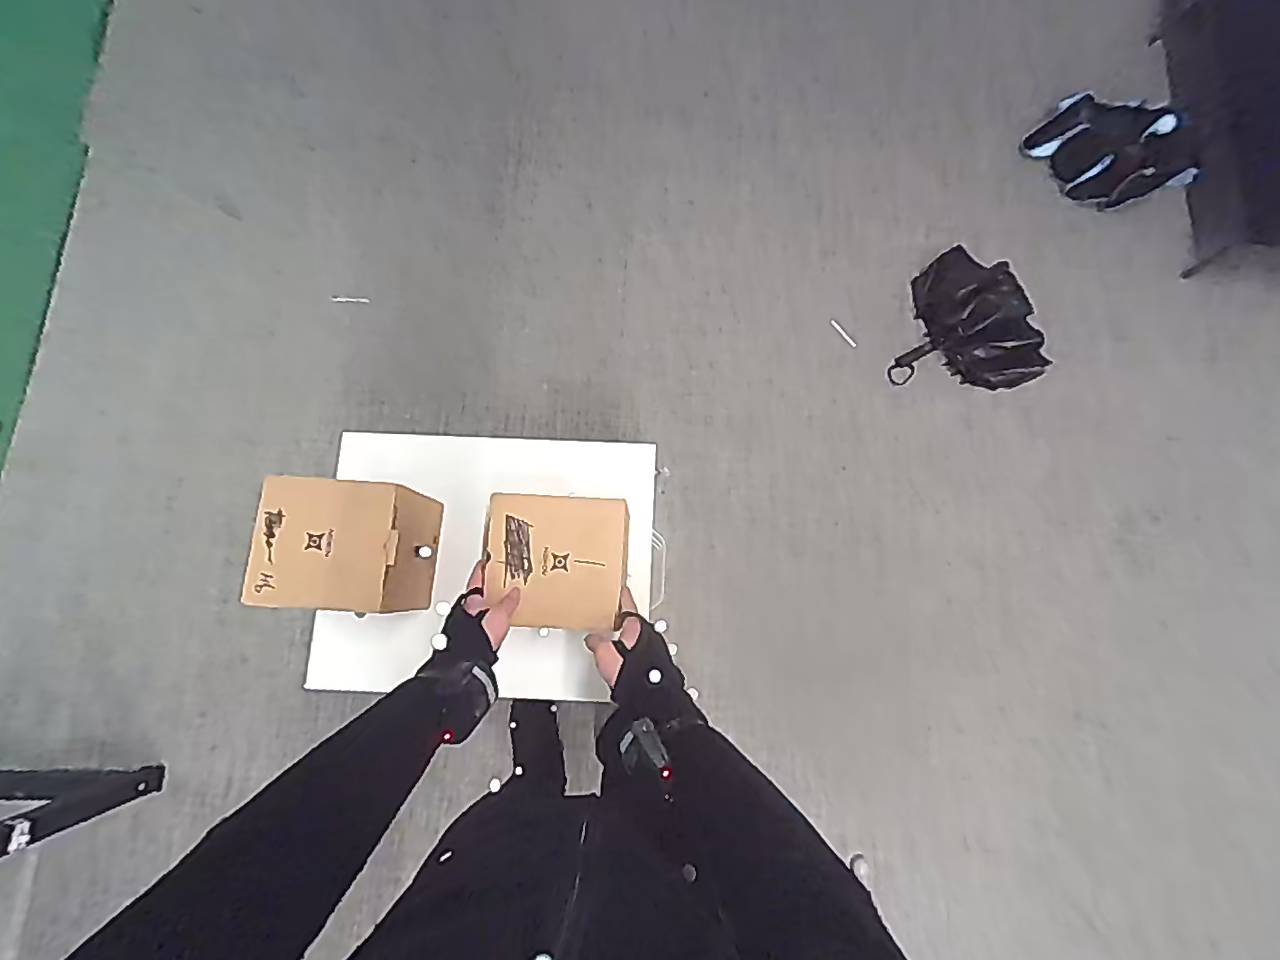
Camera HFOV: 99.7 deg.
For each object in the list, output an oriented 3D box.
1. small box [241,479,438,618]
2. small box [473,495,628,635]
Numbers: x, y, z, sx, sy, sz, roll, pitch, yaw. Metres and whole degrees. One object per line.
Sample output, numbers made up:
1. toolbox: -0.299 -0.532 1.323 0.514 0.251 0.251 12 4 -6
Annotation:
1. small box: -0.398 0.098 0.752 0.179 0.176 0.168 3 79 -1
2. small box: -0.111 0.119 0.745 0.179 0.176 0.168 3 79 1
